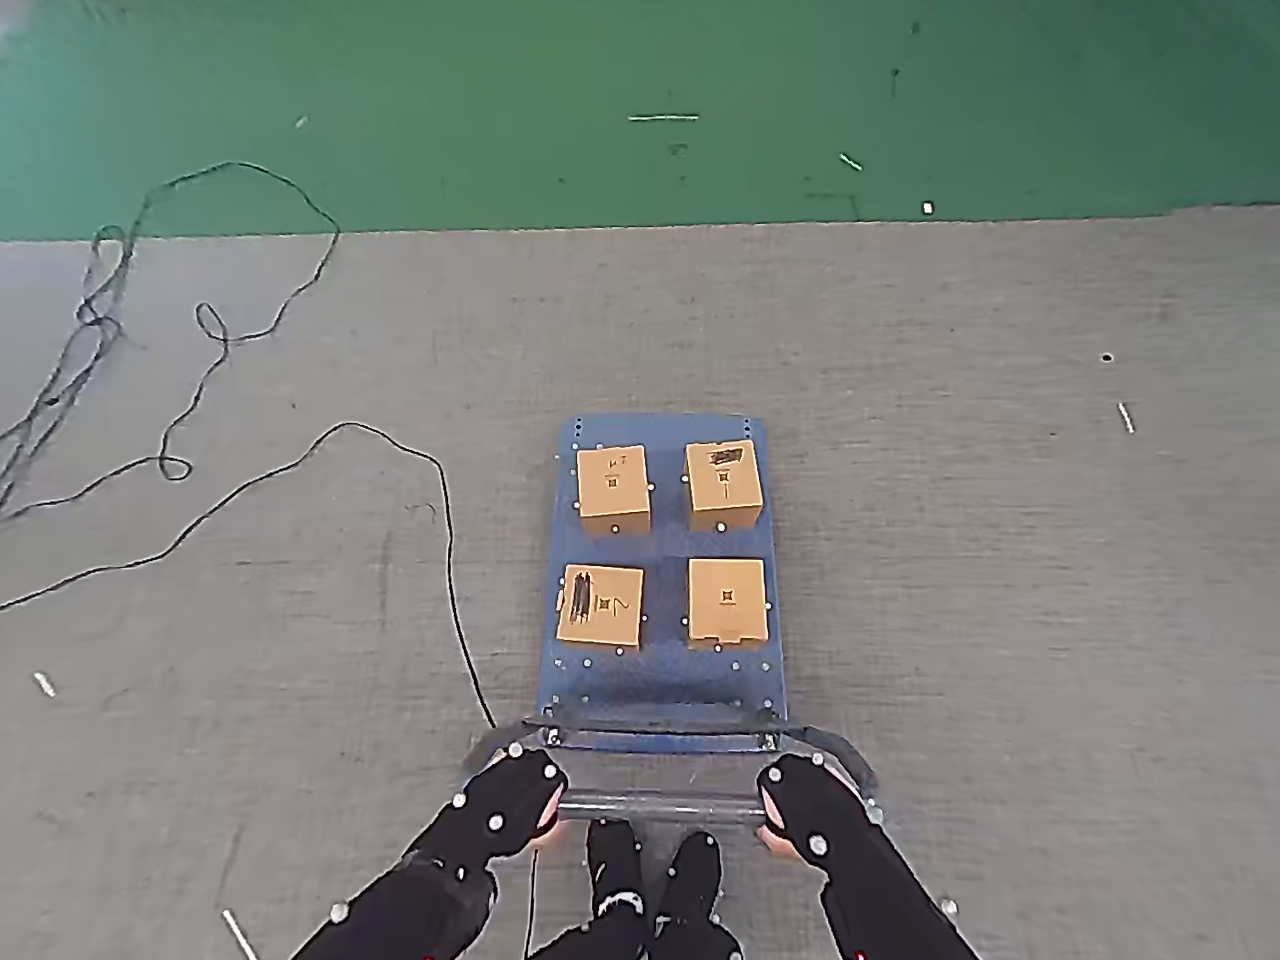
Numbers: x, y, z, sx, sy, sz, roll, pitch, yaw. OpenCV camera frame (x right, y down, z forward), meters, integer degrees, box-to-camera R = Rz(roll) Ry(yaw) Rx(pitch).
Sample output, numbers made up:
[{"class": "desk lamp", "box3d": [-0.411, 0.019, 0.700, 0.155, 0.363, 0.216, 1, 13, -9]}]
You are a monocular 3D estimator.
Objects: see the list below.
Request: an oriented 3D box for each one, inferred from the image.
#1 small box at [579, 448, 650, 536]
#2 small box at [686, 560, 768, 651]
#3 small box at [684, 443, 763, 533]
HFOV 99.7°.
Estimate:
[{"class": "small box", "box3d": [-0.062, 0.038, 1.367, 0.168, 0.176, 0.179, -5, 66, -2]}, {"class": "small box", "box3d": [0.194, 0.292, 1.249, 0.168, 0.176, 0.179, 1, 67, 2]}, {"class": "small box", "box3d": [0.203, 0.024, 1.367, 0.168, 0.176, 0.179, -4, 67, 0]}]
